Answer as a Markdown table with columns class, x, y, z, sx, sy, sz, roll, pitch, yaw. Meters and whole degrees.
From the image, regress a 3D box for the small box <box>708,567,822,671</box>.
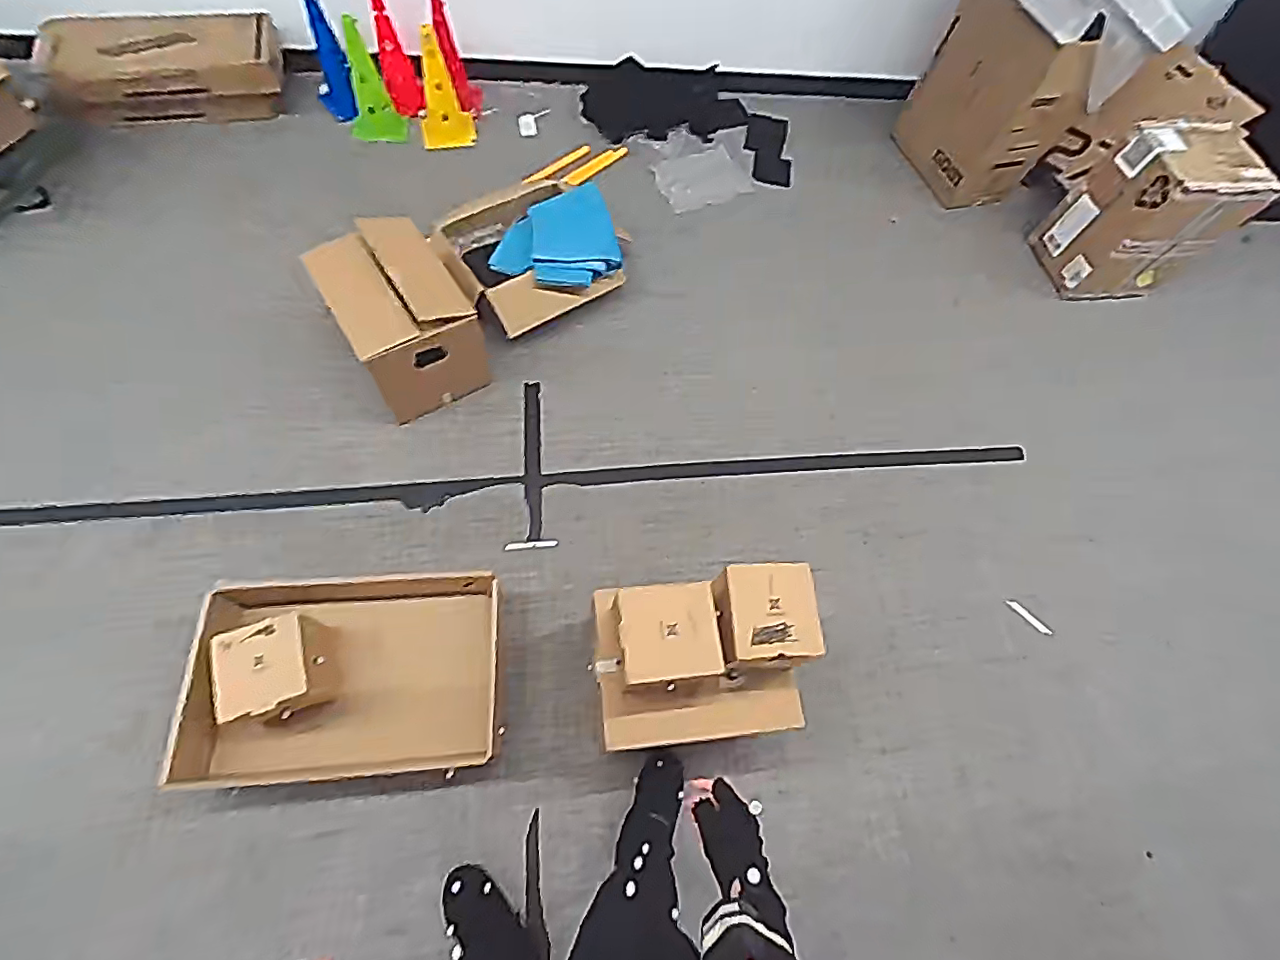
| class | x | y | z | sx | sy | sz | roll | pitch | yaw |
| --- | --- | --- | --- | --- | --- | --- | --- | --- | --- |
| small box | 0.238 | 0.280 | 1.073 | 0.168 | 0.176 | 0.179 | 1 | 63 | -7 |

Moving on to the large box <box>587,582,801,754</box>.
| class | x | y | z | sx | sy | sz | roll | pitch | yaw |
| --- | --- | --- | --- | --- | --- | --- | --- | --- | --- |
| large box | 0.095 | 0.434 | 1.252 | 0.408 | 0.320 | 0.320 | -3 | 65 | -10 |
